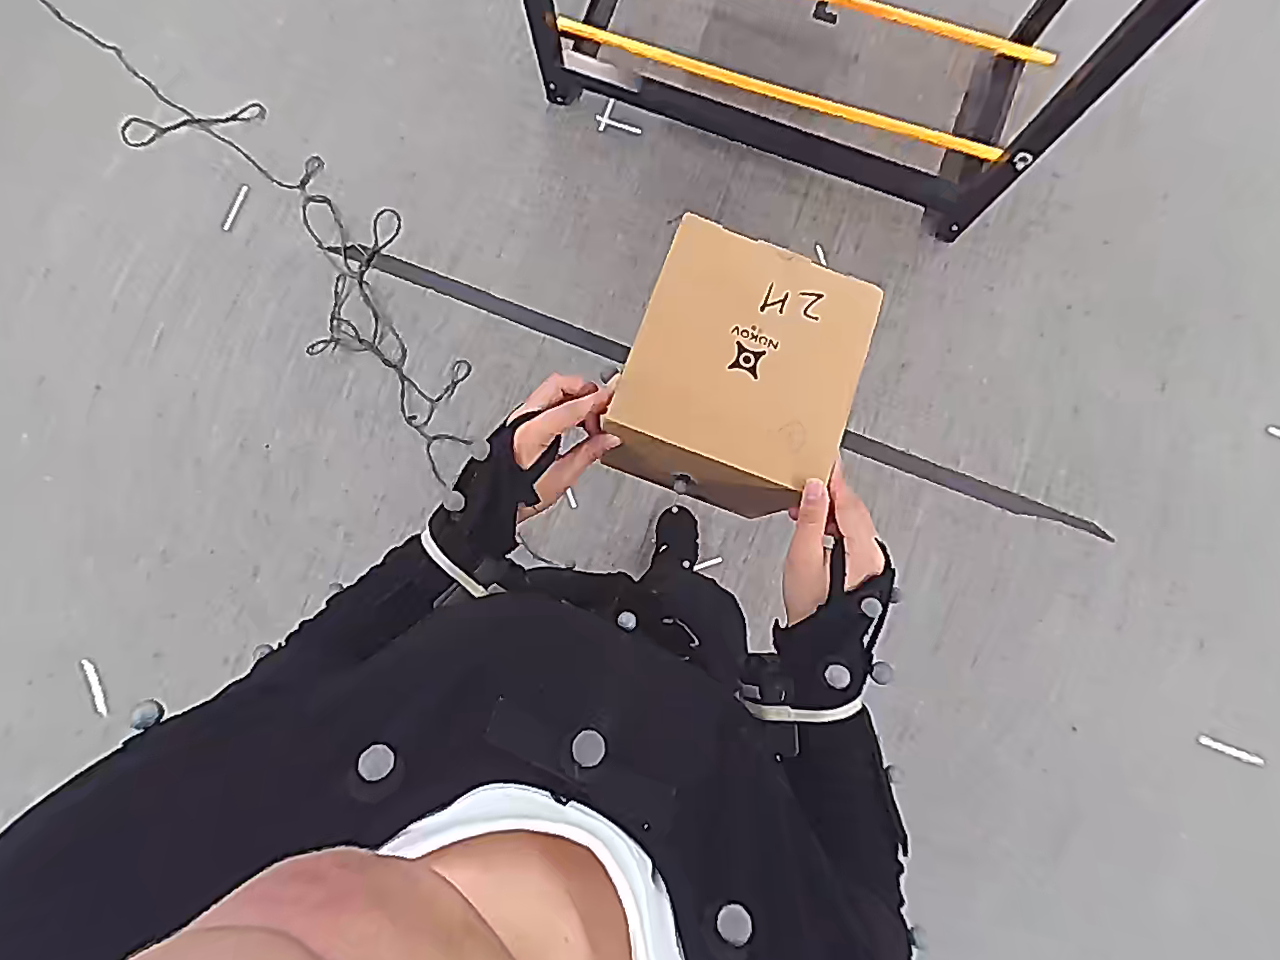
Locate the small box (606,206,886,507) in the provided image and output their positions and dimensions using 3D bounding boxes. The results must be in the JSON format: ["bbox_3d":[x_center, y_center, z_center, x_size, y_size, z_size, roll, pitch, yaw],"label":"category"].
[{"bbox_3d":[0.075,-0.086,0.469,0.168,0.176,0.179,20,79,-3],"label":"small box"}]
